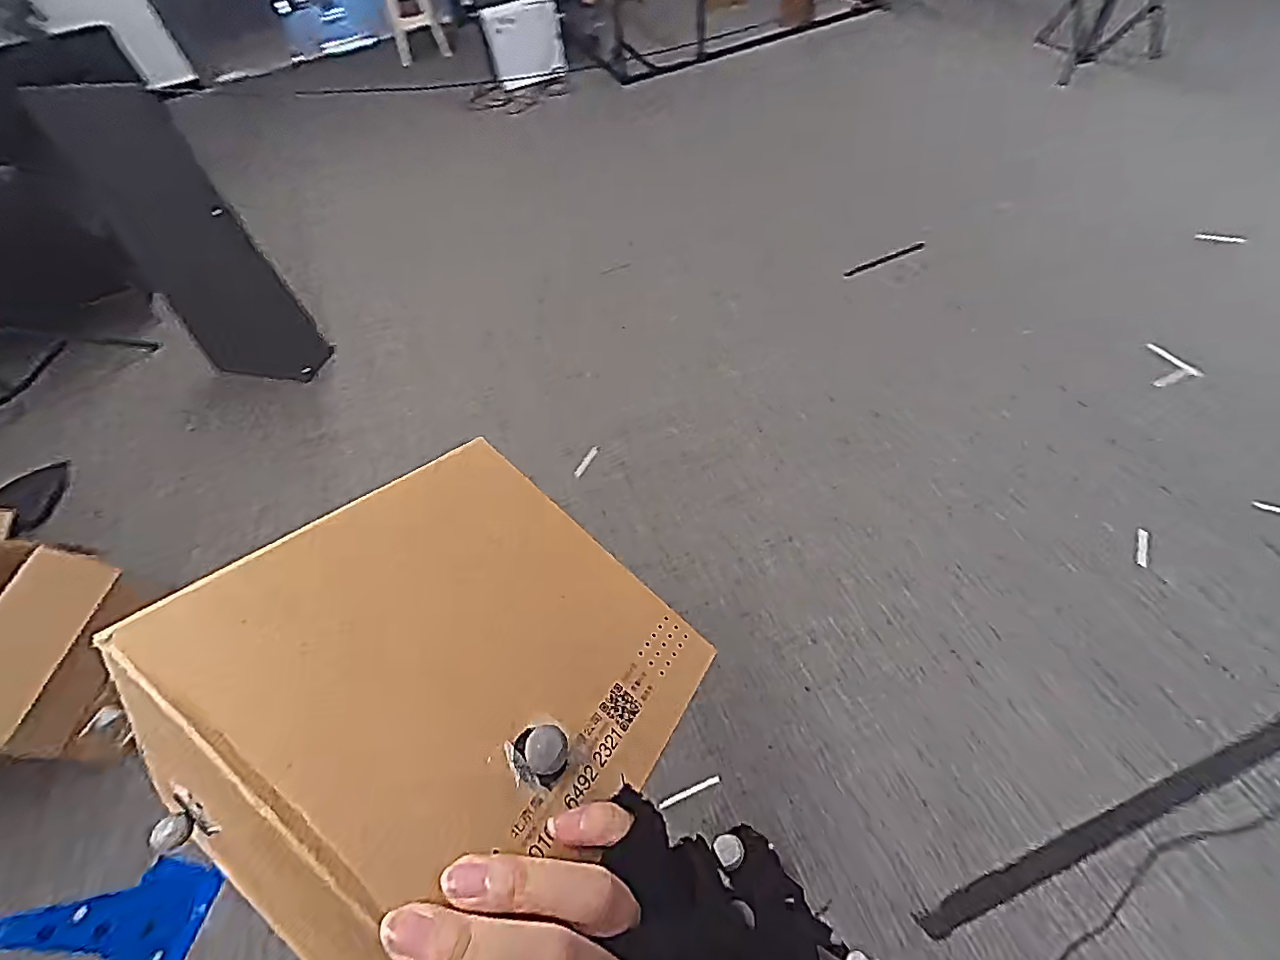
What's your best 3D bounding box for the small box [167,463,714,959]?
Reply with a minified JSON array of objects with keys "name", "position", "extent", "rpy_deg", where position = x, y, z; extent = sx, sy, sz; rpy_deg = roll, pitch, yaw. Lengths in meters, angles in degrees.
[{"name":"small box","position":[-0.094,0.130,0.285],"extent":[0.176,0.179,0.168],"rpy_deg":[42,40,6]}]
